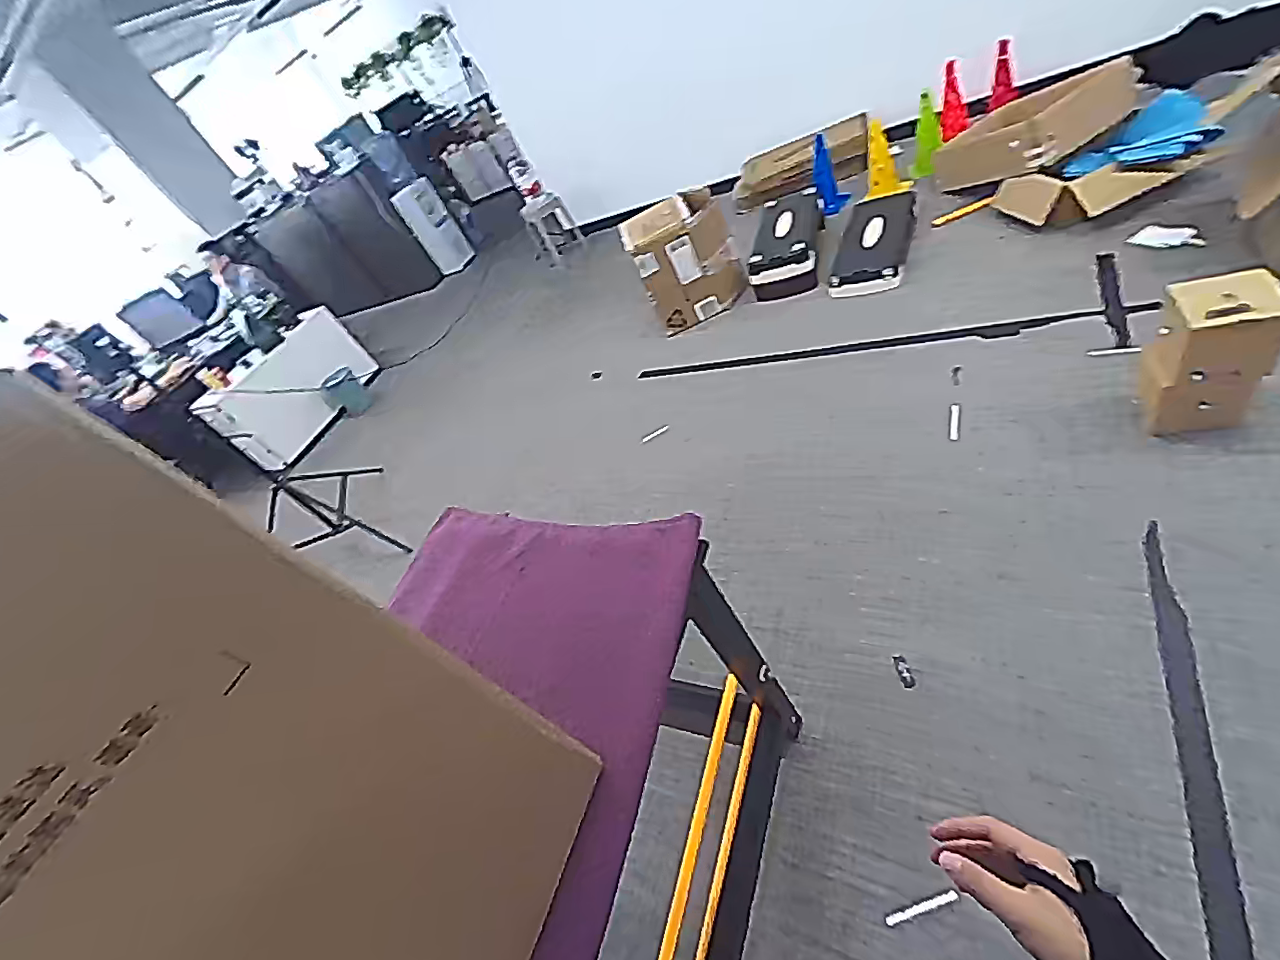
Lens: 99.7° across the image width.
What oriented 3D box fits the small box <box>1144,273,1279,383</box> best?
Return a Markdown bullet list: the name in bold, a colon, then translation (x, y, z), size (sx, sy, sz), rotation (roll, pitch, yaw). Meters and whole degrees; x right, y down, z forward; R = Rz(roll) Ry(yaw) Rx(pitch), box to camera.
- **small box**: translation (1.311, -0.340, 1.251), size (0.168, 0.176, 0.179), rotation (-5, 47, 28)
